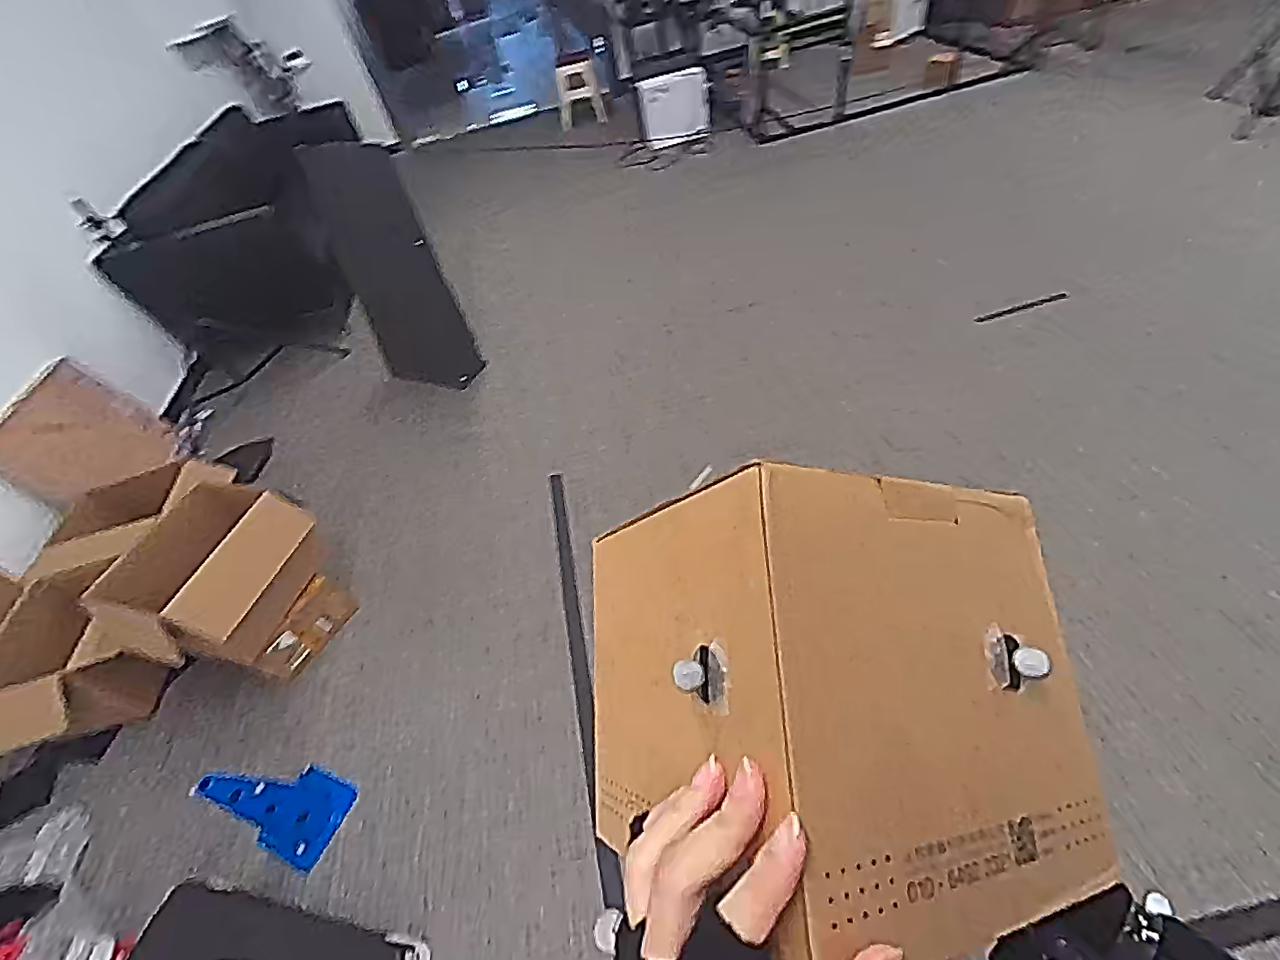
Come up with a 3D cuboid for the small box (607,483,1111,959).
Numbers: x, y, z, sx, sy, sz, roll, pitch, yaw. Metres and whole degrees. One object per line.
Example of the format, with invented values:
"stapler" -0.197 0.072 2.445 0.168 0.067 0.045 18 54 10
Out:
"small box" 0.090 0.108 0.282 0.168 0.179 0.176 6 72 -24
